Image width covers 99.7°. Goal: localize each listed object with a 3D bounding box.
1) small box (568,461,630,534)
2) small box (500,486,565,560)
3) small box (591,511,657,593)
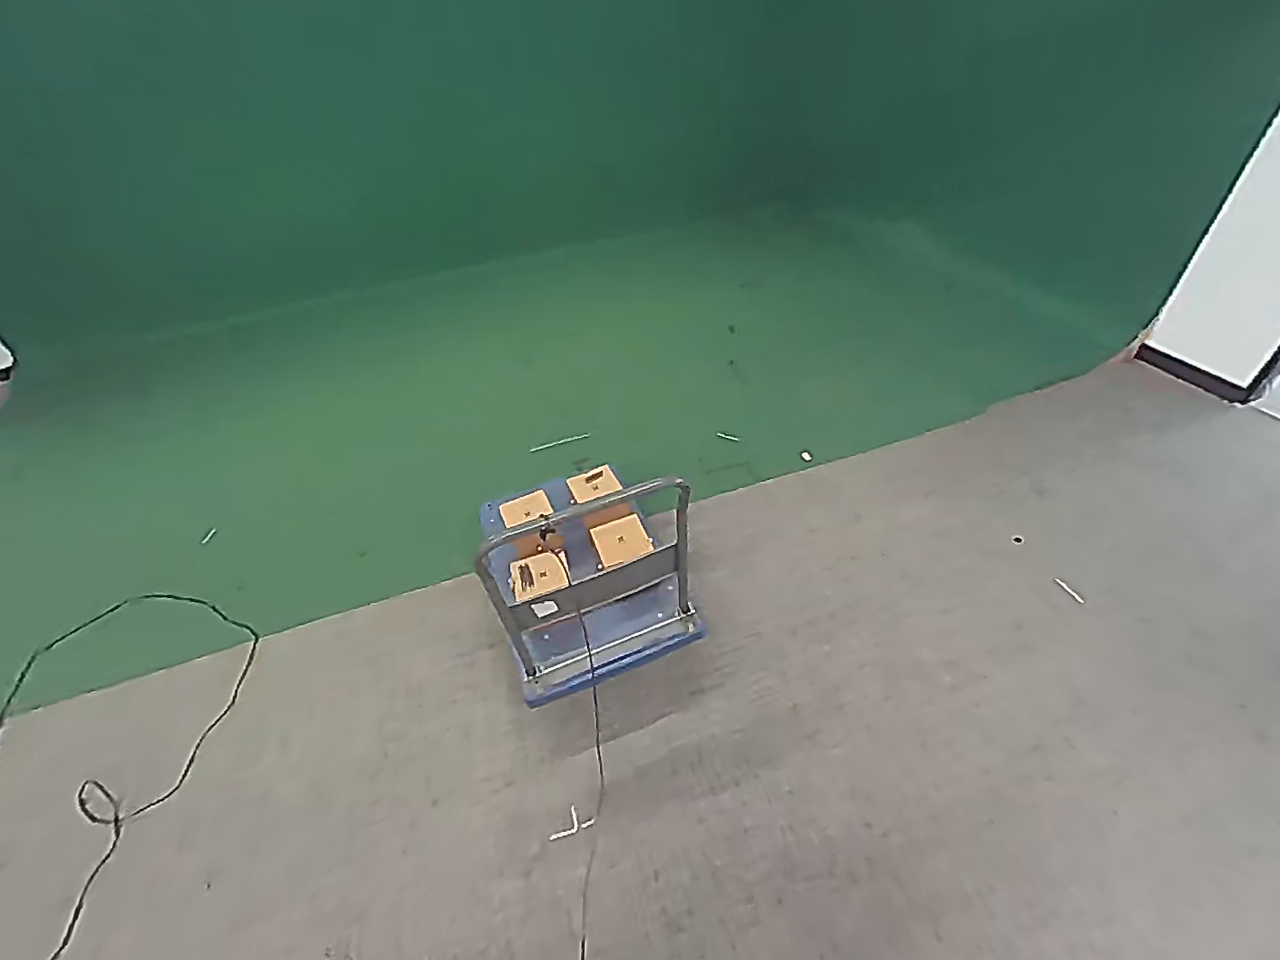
[{"bbox_3d":[-0.147,0.067,1.963,0.168,0.176,0.179,-22,47,-13],"label":"small box"},{"bbox_3d":[-0.375,0.157,1.901,0.168,0.176,0.179,-21,45,-14],"label":"small box"},{"bbox_3d":[-0.052,0.237,1.775,0.168,0.176,0.179,-18,46,-11],"label":"small box"}]
